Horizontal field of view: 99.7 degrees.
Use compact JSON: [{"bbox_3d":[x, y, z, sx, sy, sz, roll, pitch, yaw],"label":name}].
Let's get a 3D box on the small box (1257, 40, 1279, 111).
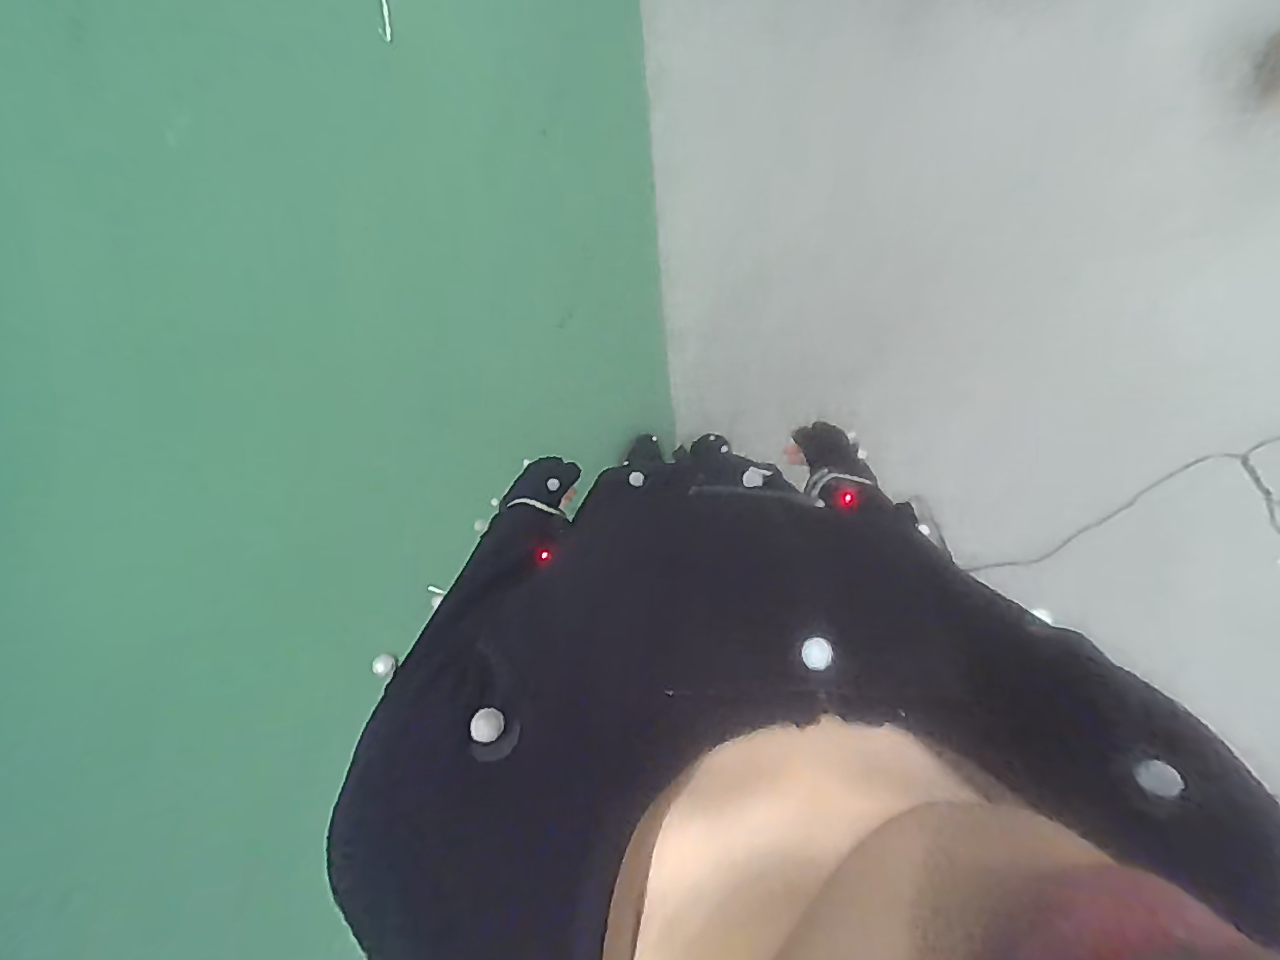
[{"bbox_3d":[1.722,-1.053,1.347,0.179,0.176,0.168,0,93,0],"label":"small box"}]
